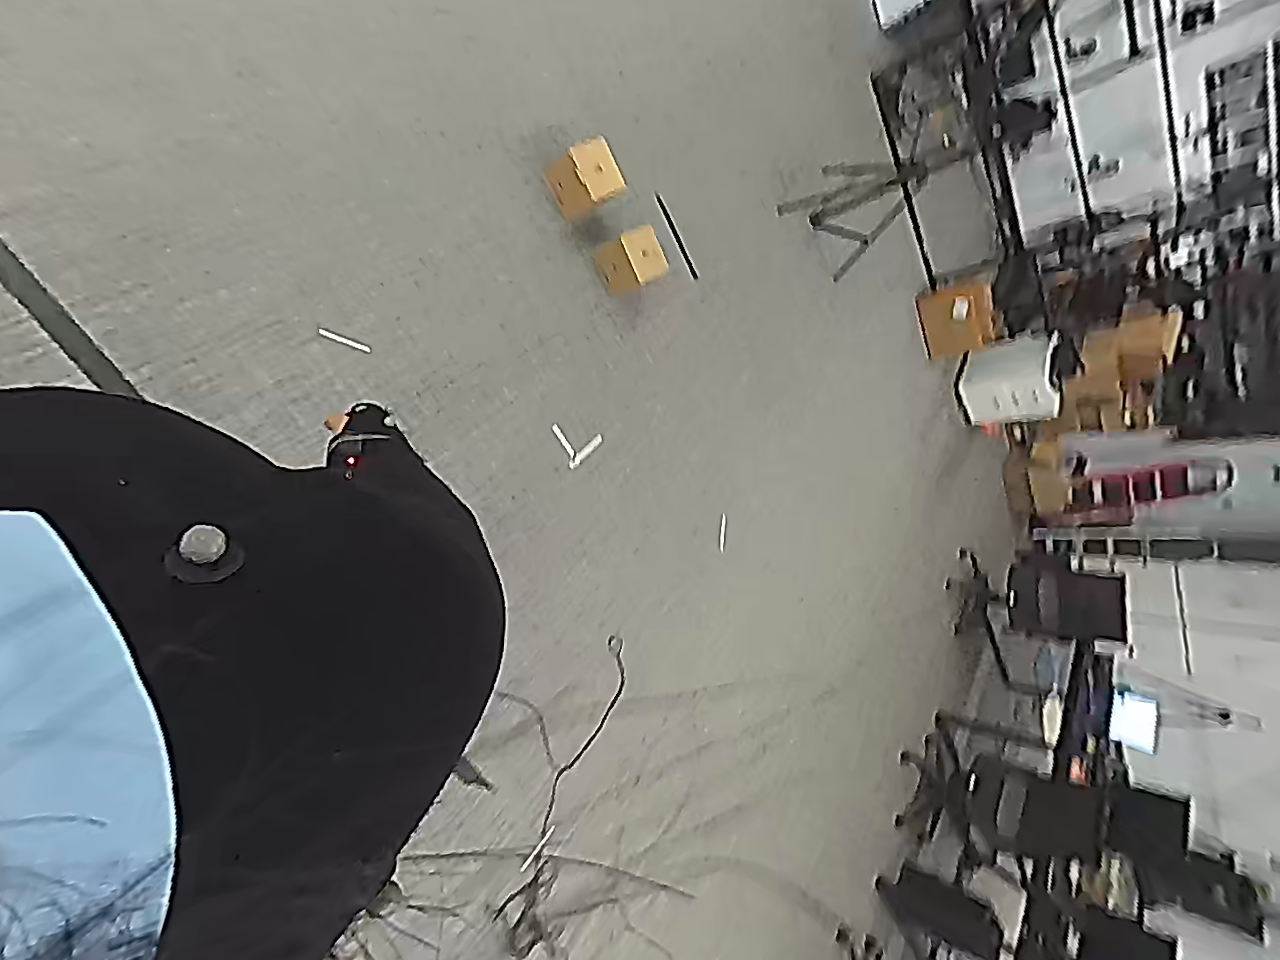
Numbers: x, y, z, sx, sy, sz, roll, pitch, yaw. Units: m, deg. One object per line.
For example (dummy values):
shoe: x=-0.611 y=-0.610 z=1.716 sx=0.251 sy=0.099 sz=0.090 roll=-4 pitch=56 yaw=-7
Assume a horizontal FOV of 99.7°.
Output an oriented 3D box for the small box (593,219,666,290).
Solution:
small box: x=-0.045 y=-0.805 z=1.941 sx=0.179 sy=0.176 sz=0.168 roll=-41 pitch=115 yaw=-35

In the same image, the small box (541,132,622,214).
small box: x=-0.199 y=-1.029 z=1.820 sx=0.179 sy=0.176 sz=0.168 roll=-44 pitch=115 yaw=-34
